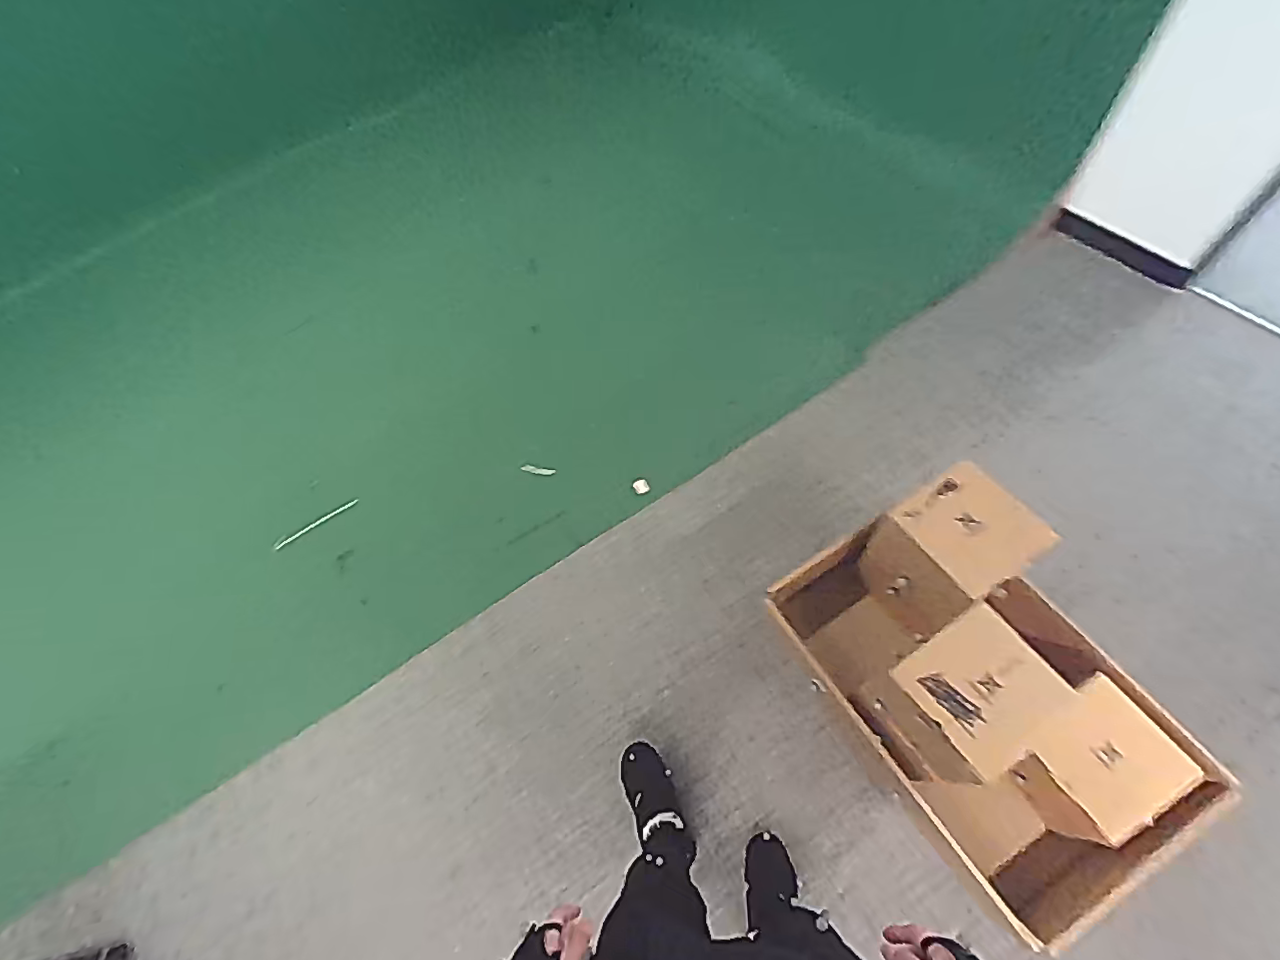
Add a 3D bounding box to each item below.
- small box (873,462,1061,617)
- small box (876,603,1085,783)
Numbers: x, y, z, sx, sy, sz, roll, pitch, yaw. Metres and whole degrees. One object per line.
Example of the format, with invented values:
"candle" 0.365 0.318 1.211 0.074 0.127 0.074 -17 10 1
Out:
"small box" 0.518 0.108 0.888 0.168 0.176 0.179 -31 63 -6
"small box" 0.471 0.313 0.787 0.179 0.176 0.168 -32 62 -8
